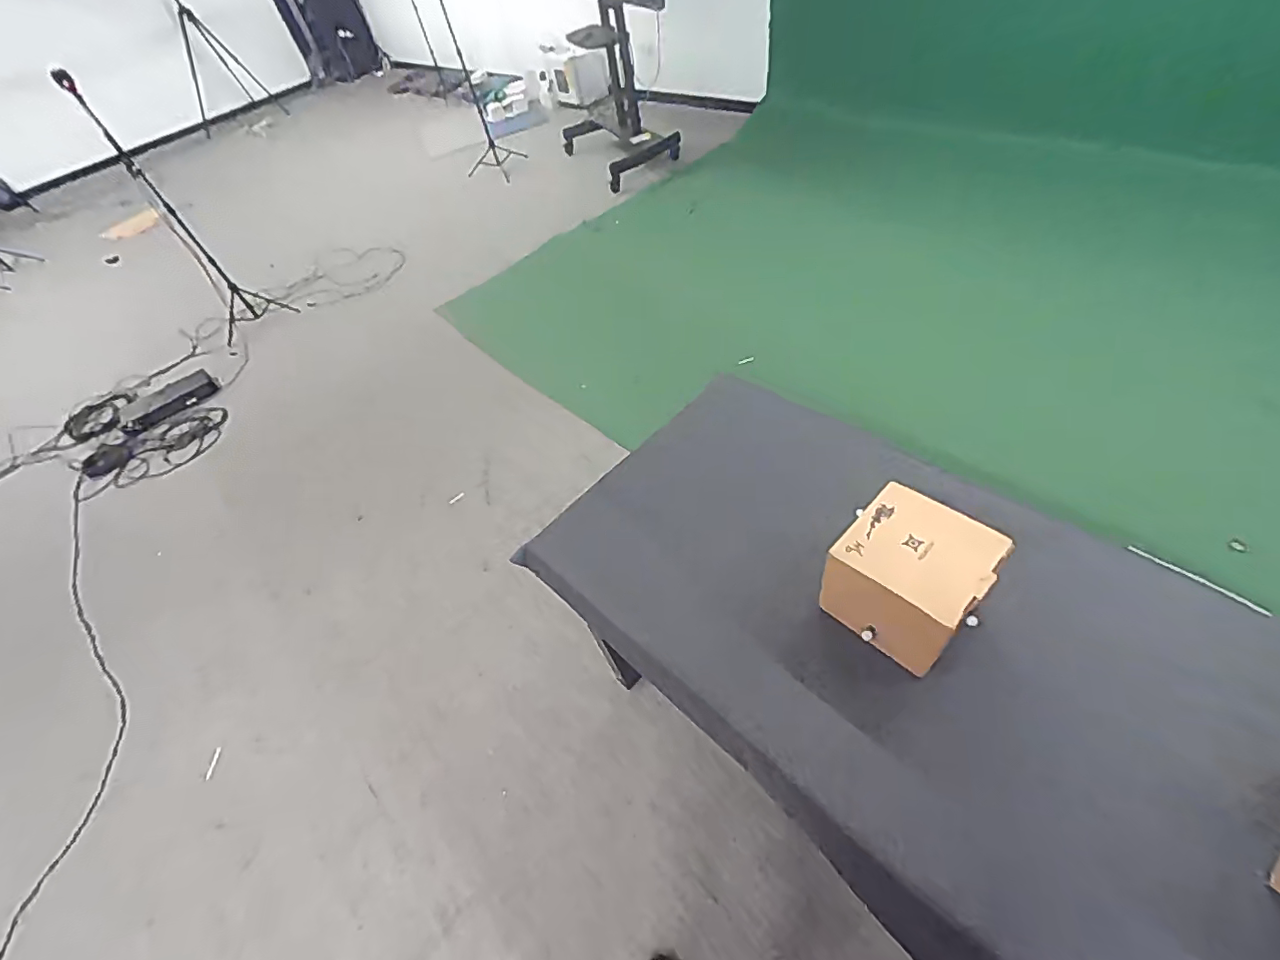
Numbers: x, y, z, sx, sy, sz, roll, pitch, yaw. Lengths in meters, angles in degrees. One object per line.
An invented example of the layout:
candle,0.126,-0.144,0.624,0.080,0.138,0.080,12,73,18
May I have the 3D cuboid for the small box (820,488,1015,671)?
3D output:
small box,0.389,0.151,0.786,0.168,0.176,0.179,-40,55,-24
